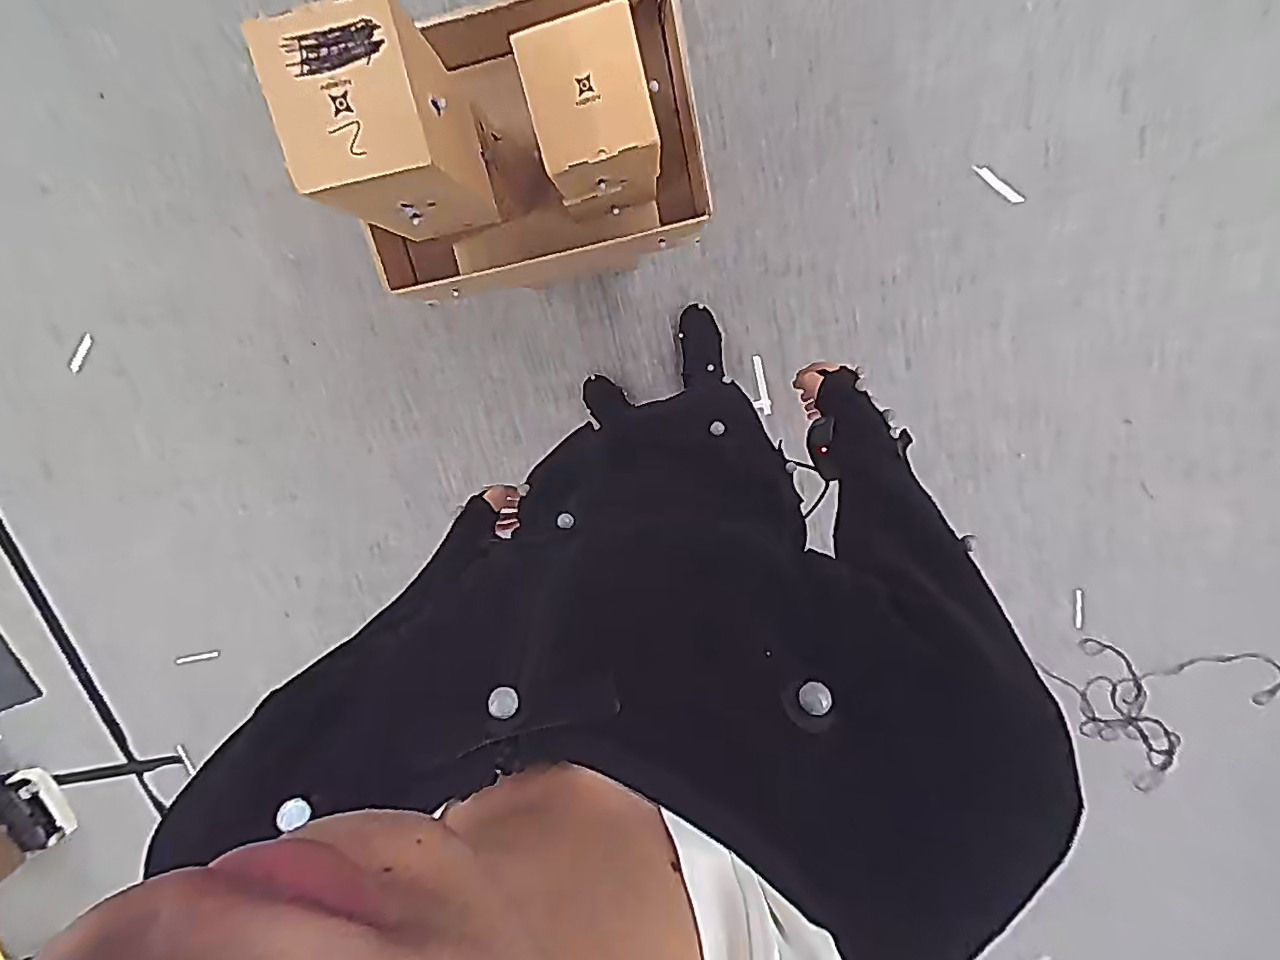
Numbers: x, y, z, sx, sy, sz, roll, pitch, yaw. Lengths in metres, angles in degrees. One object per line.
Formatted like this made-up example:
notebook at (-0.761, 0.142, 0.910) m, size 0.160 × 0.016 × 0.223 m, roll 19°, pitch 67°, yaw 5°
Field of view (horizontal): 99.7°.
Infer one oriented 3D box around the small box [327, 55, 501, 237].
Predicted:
small box at (-0.332, -0.496, 0.831) m, size 0.168 × 0.176 × 0.179 m, roll -11°, pitch 104°, yaw 5°

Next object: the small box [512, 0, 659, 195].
small box at (-0.072, -0.557, 0.808) m, size 0.168 × 0.176 × 0.179 m, roll -14°, pitch 105°, yaw 5°
